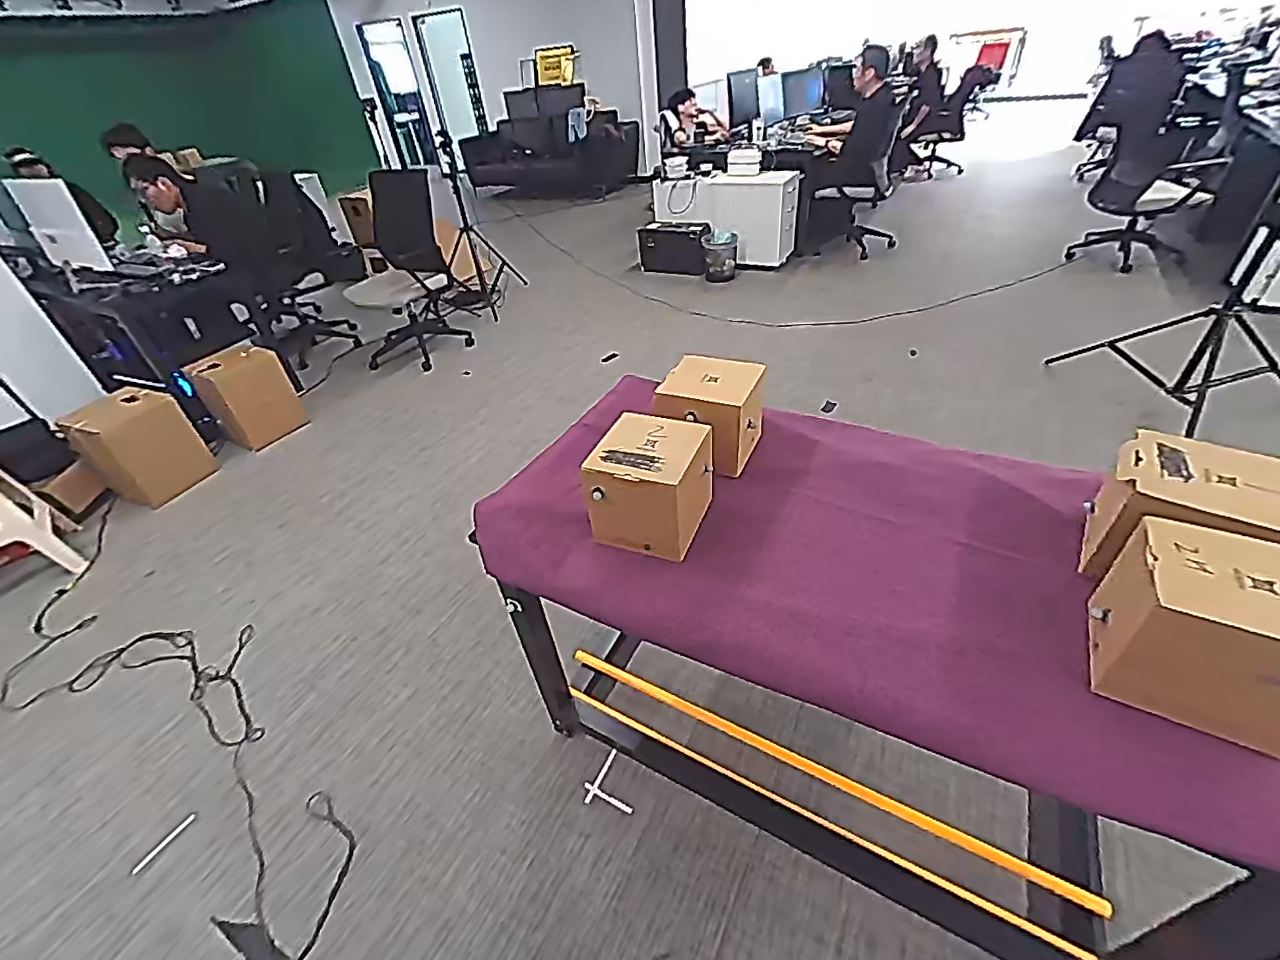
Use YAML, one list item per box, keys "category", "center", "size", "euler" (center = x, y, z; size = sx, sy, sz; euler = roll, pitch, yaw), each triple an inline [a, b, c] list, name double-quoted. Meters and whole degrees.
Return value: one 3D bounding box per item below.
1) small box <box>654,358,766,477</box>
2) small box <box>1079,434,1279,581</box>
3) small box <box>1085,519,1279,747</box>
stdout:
- category: "small box"
  center: [0.145, -0.126, 1.099]
  size: [0.179, 0.176, 0.168]
  euler: [13, 42, 23]
- category: "small box"
  center: [0.766, 0.064, 0.769]
  size: [0.179, 0.176, 0.168]
  euler: [22, 48, 29]
- category: "small box"
  center: [0.668, 0.179, 0.638]
  size: [0.179, 0.176, 0.168]
  euler: [17, 42, 28]
